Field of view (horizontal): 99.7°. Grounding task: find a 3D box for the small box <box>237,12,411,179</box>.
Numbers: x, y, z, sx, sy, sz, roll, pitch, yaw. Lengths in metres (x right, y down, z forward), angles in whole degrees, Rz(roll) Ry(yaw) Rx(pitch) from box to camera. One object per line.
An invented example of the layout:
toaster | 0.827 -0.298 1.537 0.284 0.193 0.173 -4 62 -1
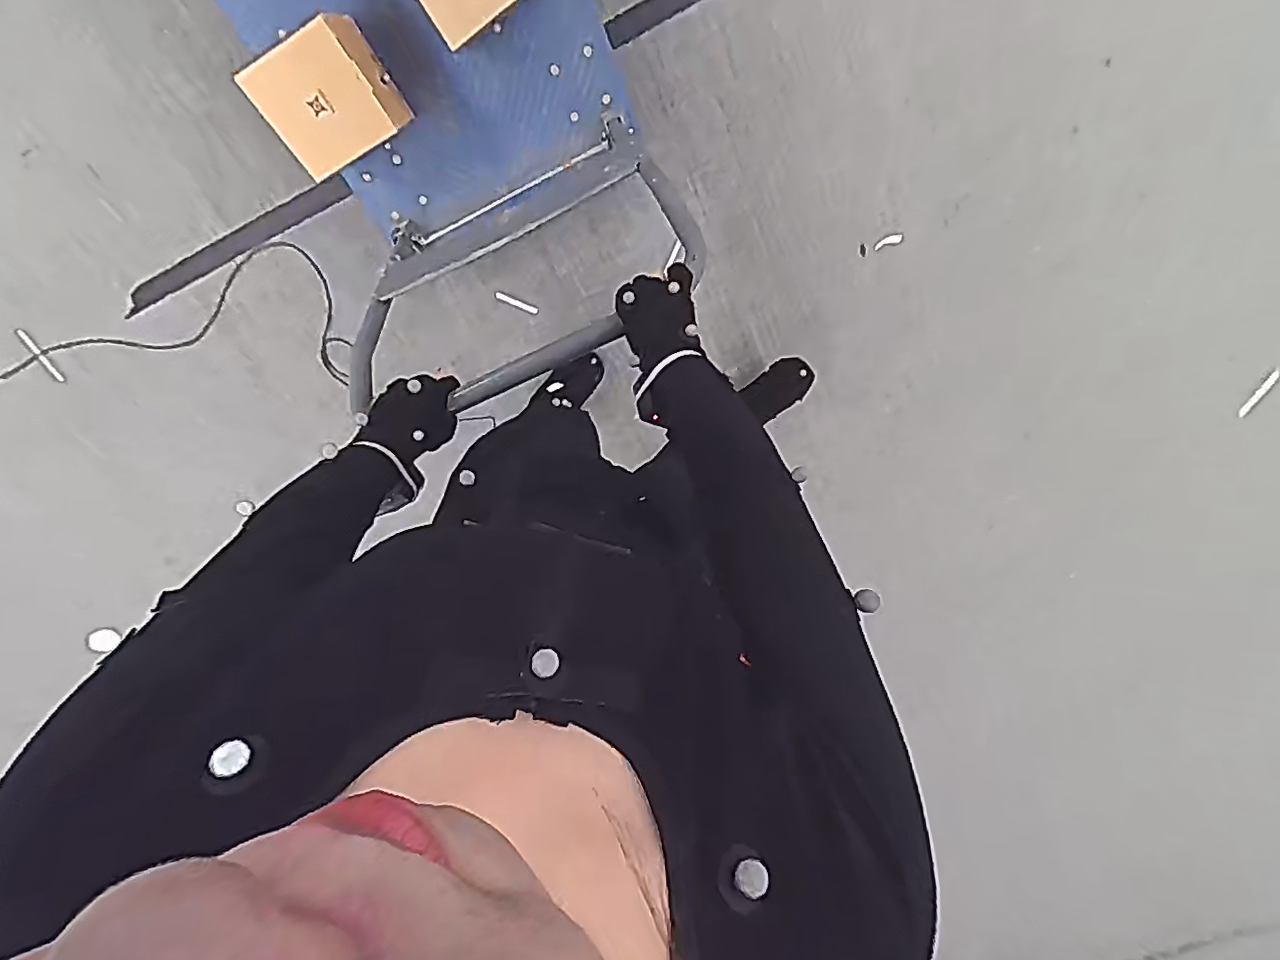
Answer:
small box | -0.524 -0.654 0.926 0.179 0.176 0.168 -26 129 10

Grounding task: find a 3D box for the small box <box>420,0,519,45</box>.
small box | -0.272 -0.815 0.836 0.179 0.176 0.168 -28 129 13
